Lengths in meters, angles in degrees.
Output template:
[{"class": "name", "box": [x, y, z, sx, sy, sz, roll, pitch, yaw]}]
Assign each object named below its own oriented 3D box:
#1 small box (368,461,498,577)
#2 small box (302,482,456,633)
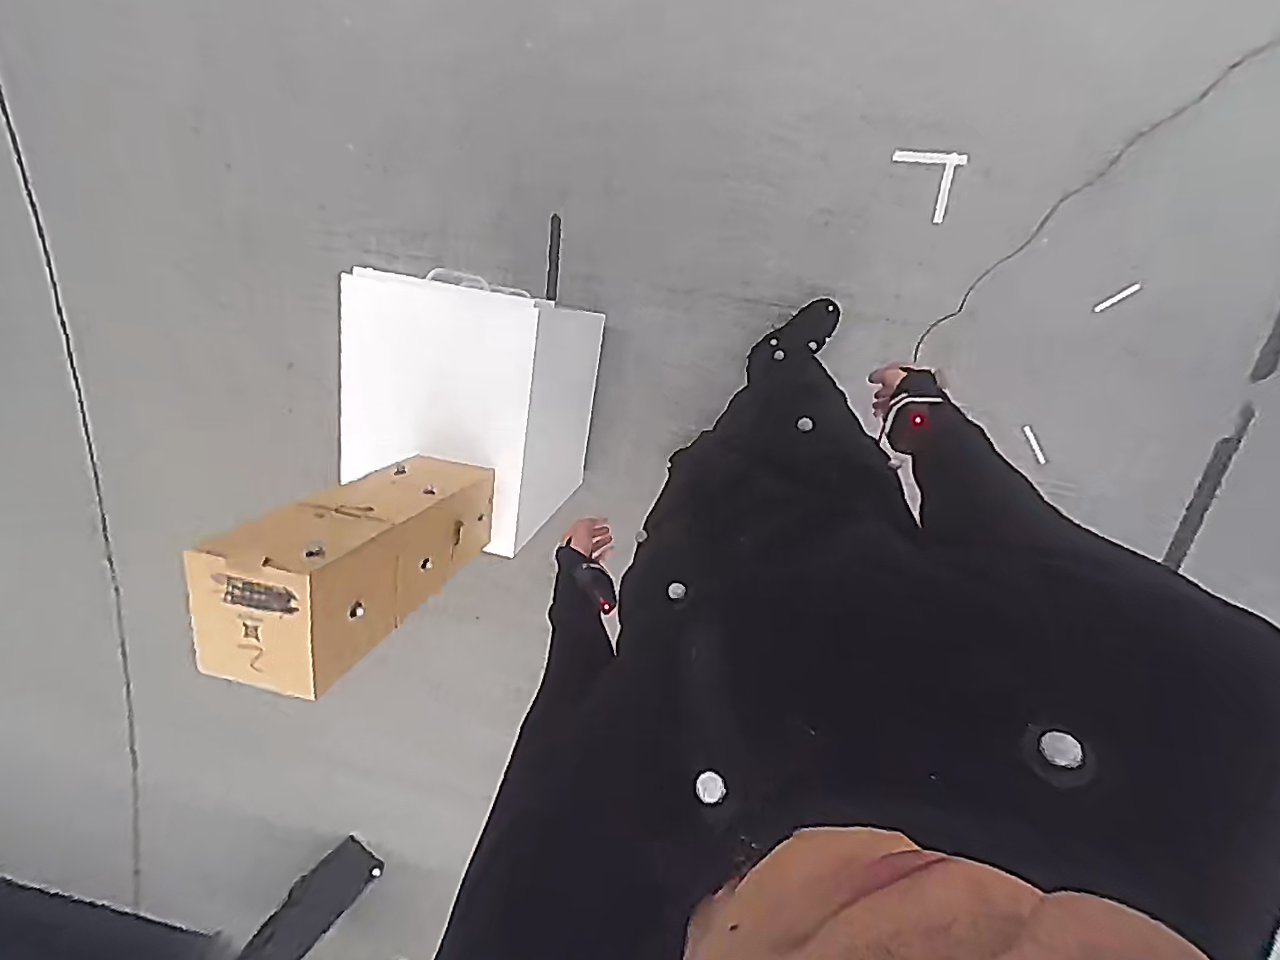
[{"class": "small box", "box": [-0.395, 0.069, 1.043, 0.179, 0.176, 0.168, 11, 108, 7]}, {"class": "small box", "box": [-0.418, 0.116, 0.887, 0.168, 0.176, 0.179, 11, 108, 8]}]
